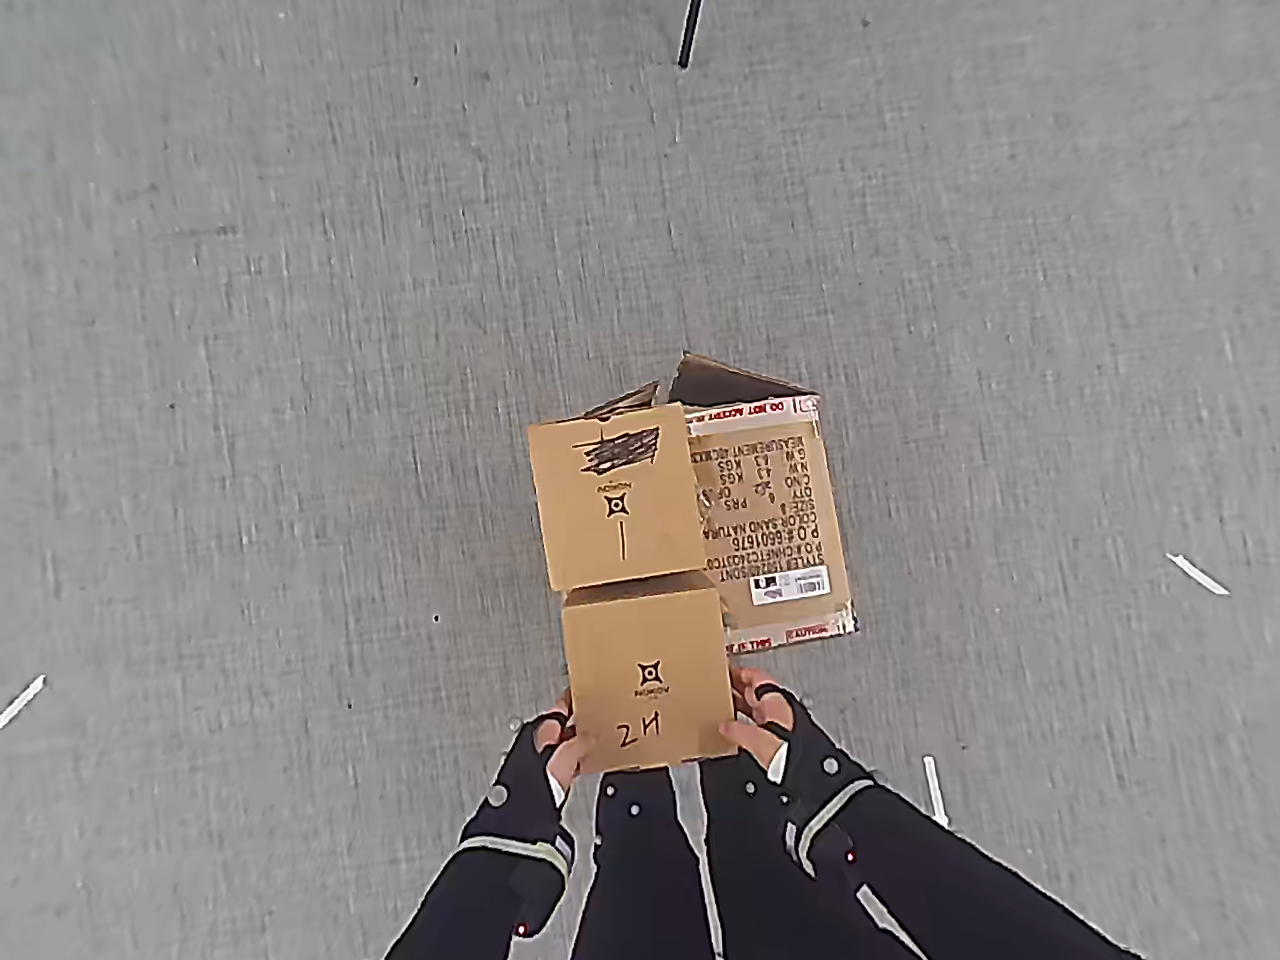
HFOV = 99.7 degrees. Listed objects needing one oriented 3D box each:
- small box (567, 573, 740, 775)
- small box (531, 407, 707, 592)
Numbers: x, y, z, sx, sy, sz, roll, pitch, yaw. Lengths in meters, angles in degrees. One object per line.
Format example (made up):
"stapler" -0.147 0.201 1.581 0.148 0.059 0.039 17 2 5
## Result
"small box" 0.010 0.208 0.635 0.168 0.176 0.179 -7 89 -1
"small box" -0.023 0.023 0.641 0.168 0.176 0.179 -9 89 0
